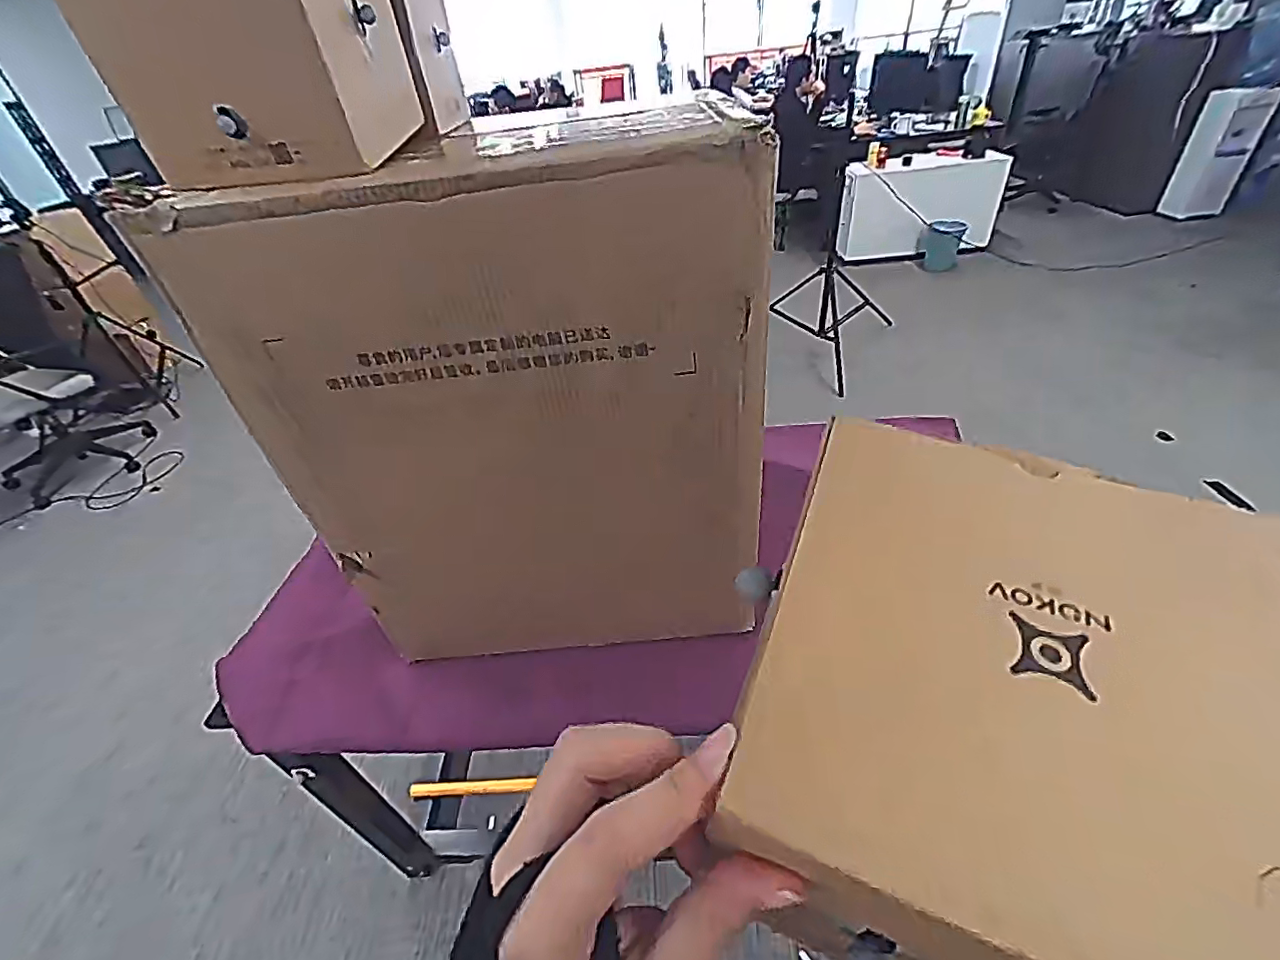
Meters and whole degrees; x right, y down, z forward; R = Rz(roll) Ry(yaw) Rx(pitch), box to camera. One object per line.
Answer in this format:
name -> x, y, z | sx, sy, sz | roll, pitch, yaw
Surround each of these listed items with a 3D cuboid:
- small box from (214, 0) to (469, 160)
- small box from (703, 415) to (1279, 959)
small box -> -0.301, -0.457, 0.580 | 0.179, 0.176, 0.168 | -5, 38, 1
small box -> 0.130, 0.105, 0.227 | 0.168, 0.176, 0.179 | 17, 50, 17
